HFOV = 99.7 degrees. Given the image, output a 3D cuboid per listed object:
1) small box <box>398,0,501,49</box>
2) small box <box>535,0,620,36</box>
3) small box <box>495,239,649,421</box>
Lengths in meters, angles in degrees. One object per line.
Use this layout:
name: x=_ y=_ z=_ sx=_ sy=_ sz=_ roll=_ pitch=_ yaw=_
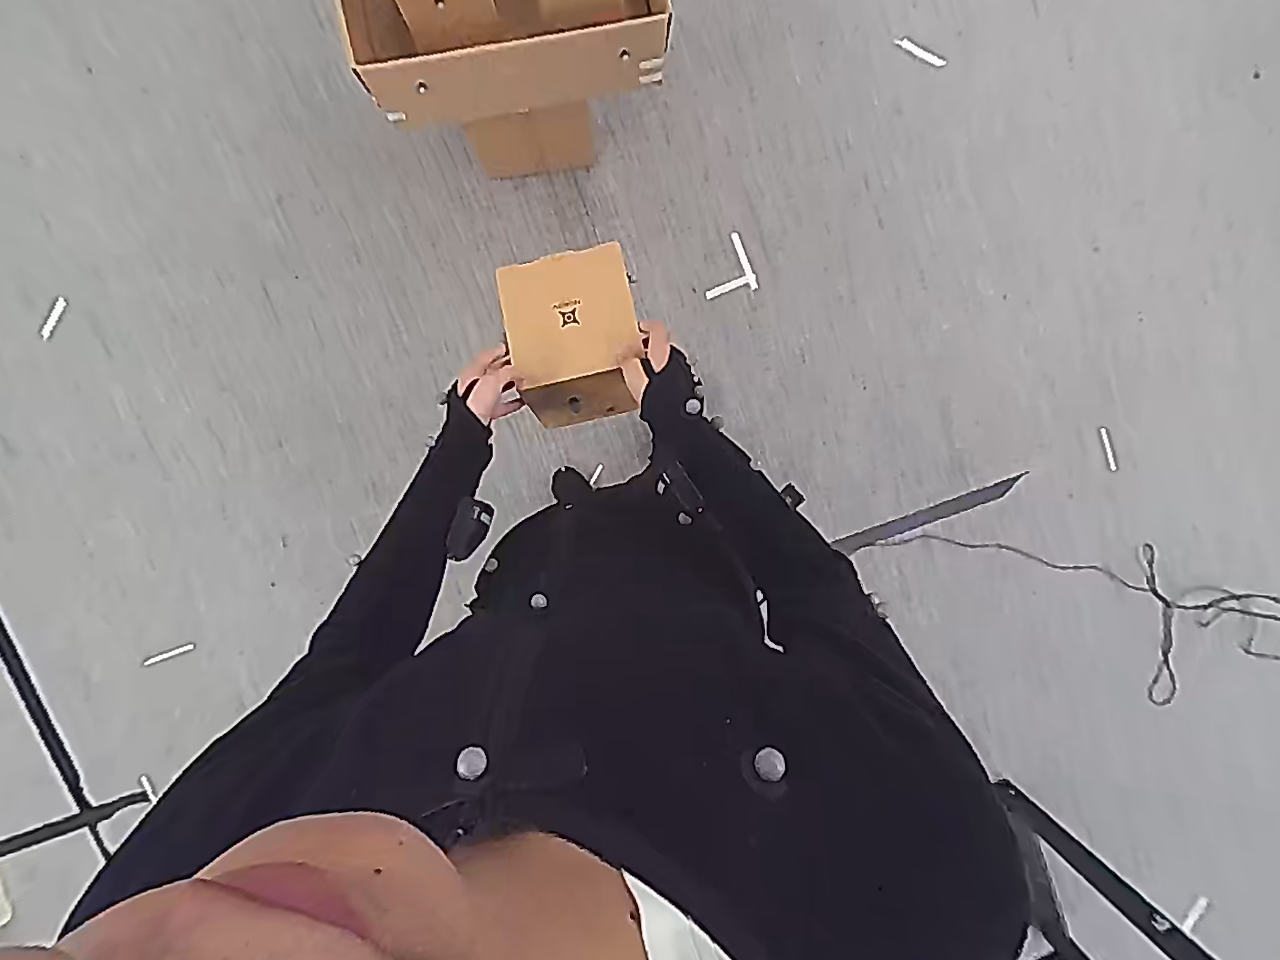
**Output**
small box: x=-0.388 y=-0.982 z=1.044 sx=0.179 sy=0.176 sz=0.168 roll=-14 pitch=95 yaw=-2
small box: x=-0.134 y=-1.014 z=1.052 sx=0.168 sy=0.176 sz=0.179 roll=-14 pitch=94 yaw=-1
small box: x=-0.085 y=-0.193 z=0.753 sx=0.168 sy=0.176 sz=0.179 roll=-13 pitch=77 yaw=0
